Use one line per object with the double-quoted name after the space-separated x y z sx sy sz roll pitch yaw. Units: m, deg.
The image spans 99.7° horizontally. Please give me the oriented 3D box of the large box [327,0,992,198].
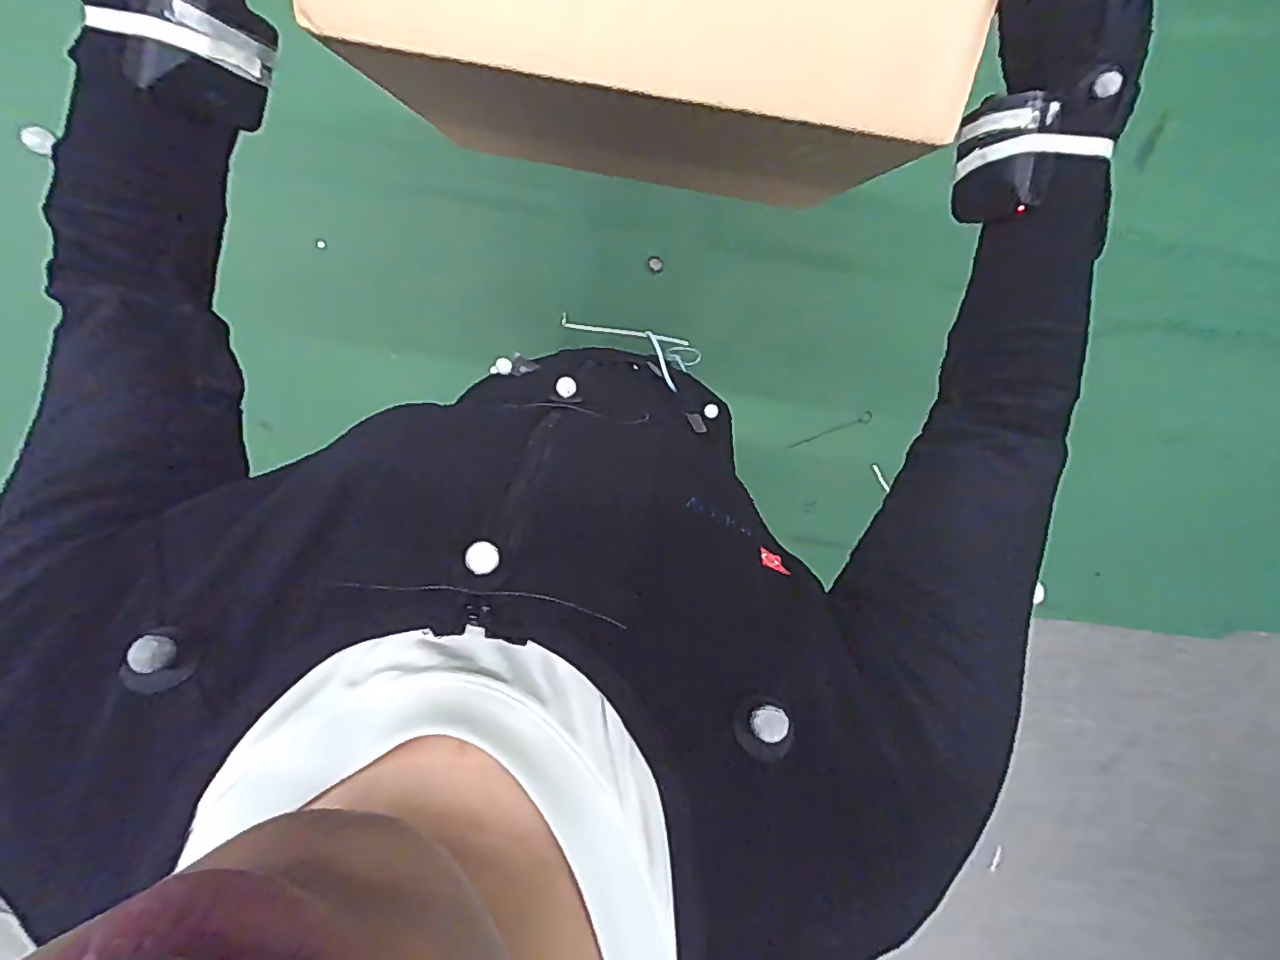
0.025 -0.442 0.426 0.408 0.320 0.320 8 110 -4 "large box"
